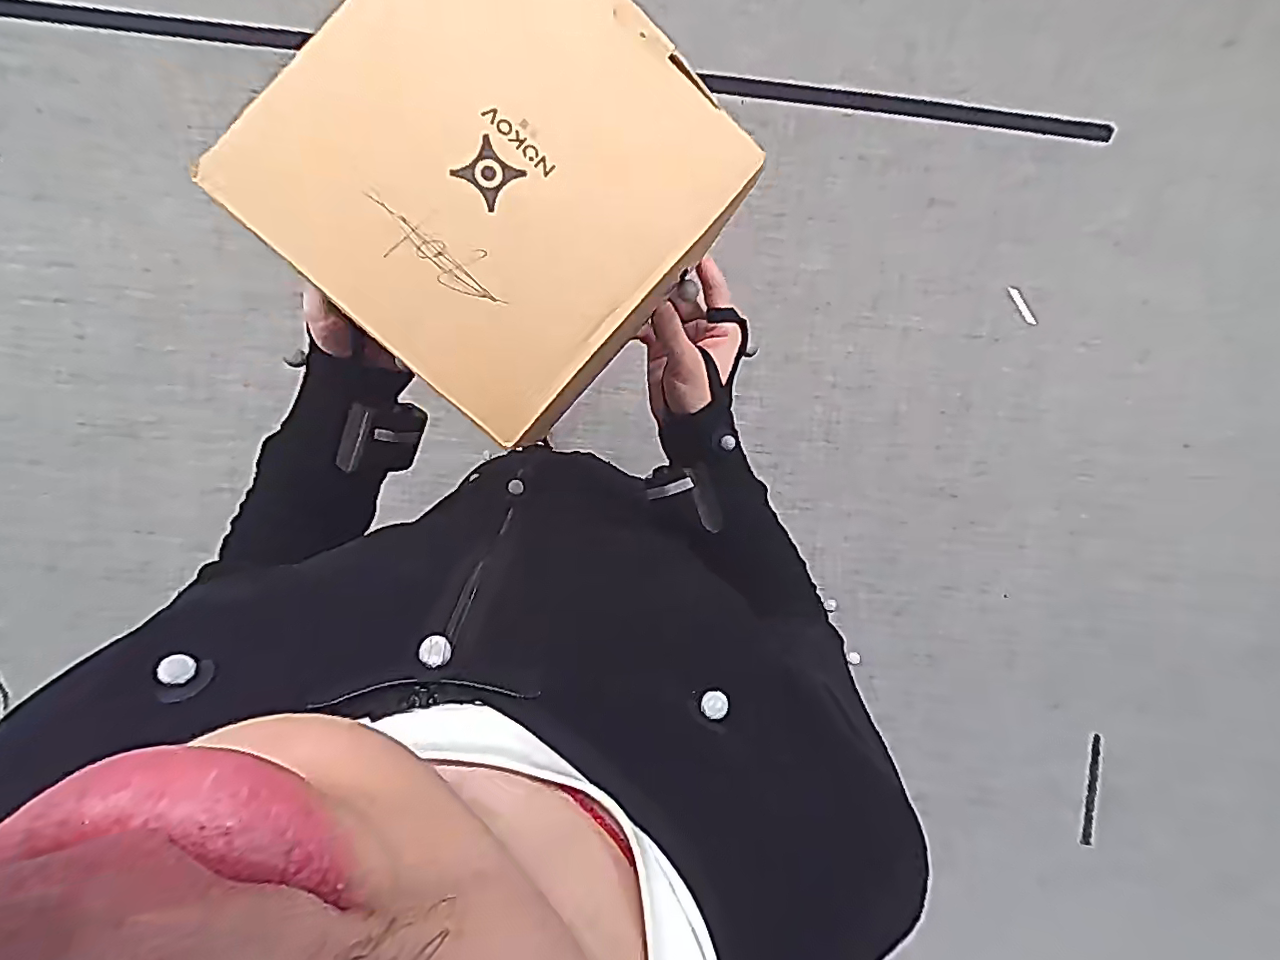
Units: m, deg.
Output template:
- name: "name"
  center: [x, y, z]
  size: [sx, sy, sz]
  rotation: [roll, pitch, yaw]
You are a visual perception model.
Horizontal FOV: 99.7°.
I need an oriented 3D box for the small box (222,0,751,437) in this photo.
- name: "small box"
  center: [-0.071, -0.144, 0.318]
  size: [0.168, 0.176, 0.179]
  rotation: [42, 91, -8]
